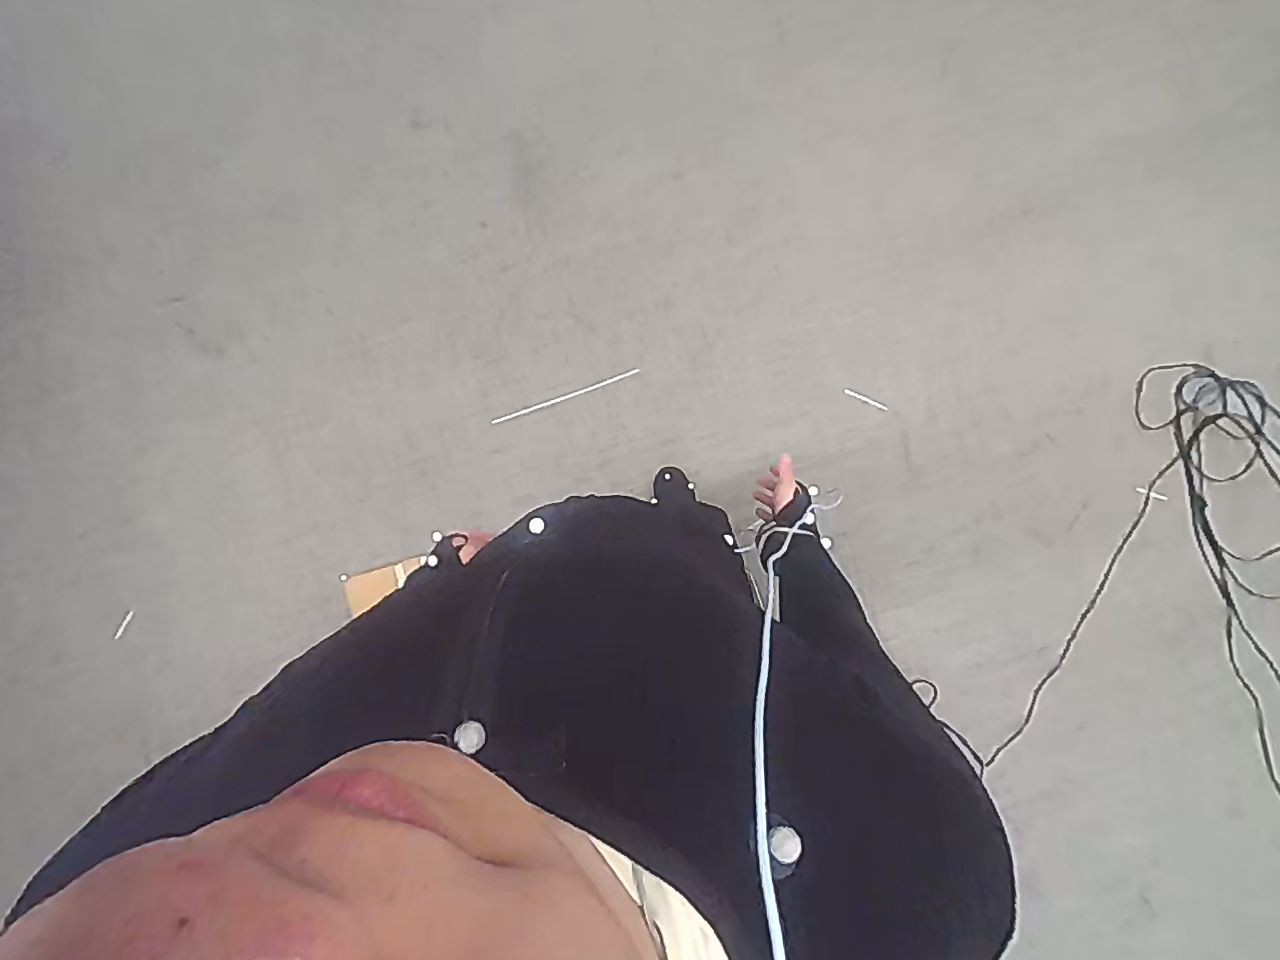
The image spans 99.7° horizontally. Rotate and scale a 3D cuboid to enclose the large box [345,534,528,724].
[{"bbox_3d":[-0.551,0.397,1.532,0.320,0.320,0.408,-17,89,1],"label":"large box"}]
